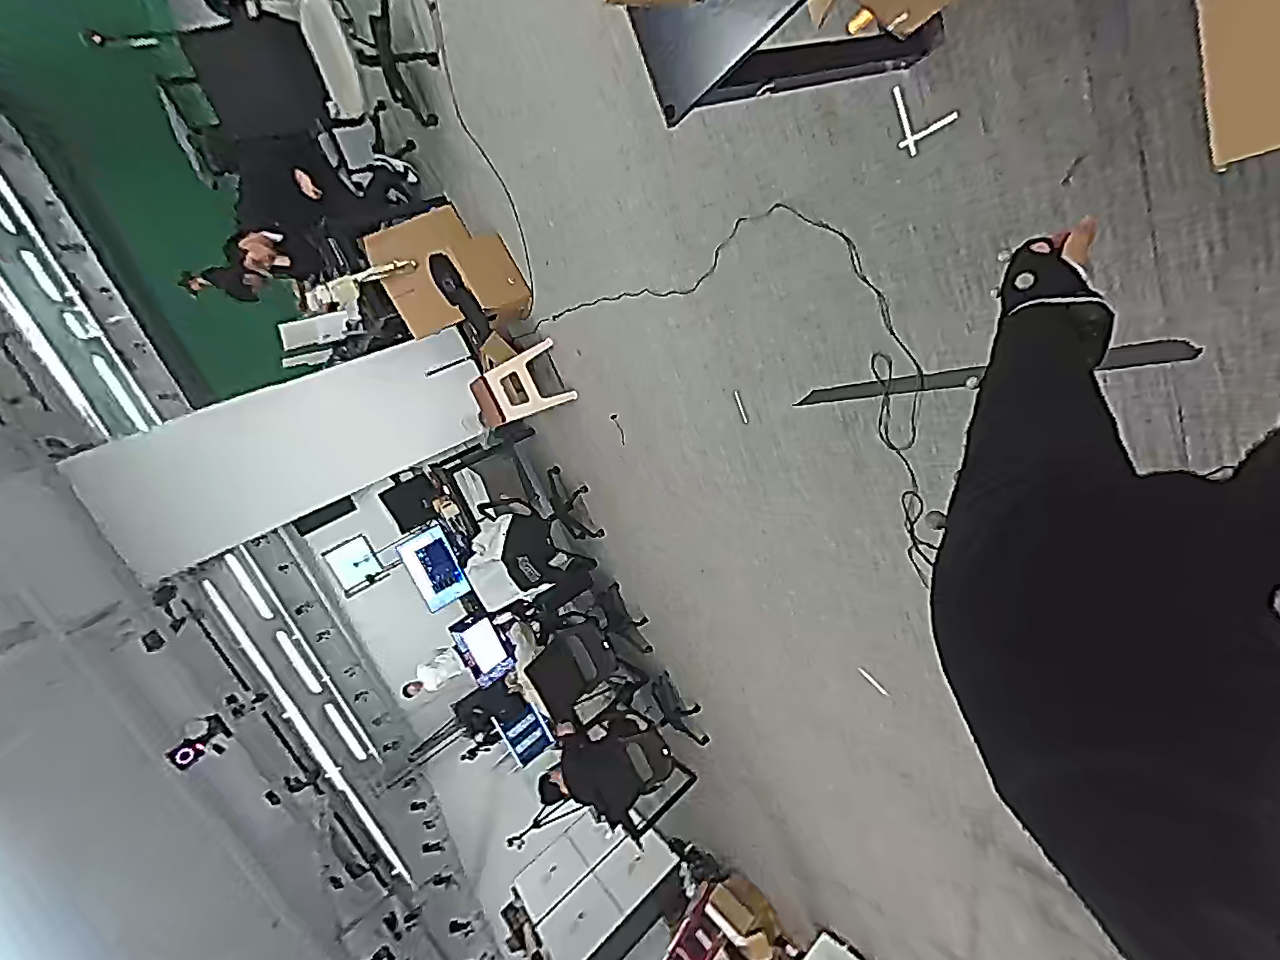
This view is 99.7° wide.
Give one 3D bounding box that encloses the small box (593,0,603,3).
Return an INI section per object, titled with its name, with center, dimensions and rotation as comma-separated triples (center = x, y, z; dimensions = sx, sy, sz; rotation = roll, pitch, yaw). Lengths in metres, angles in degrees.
[small box]
center = 0.022, -0.701, 0.624
dimensions = 0.179, 0.176, 0.168
rotation = 2, 120, 57
